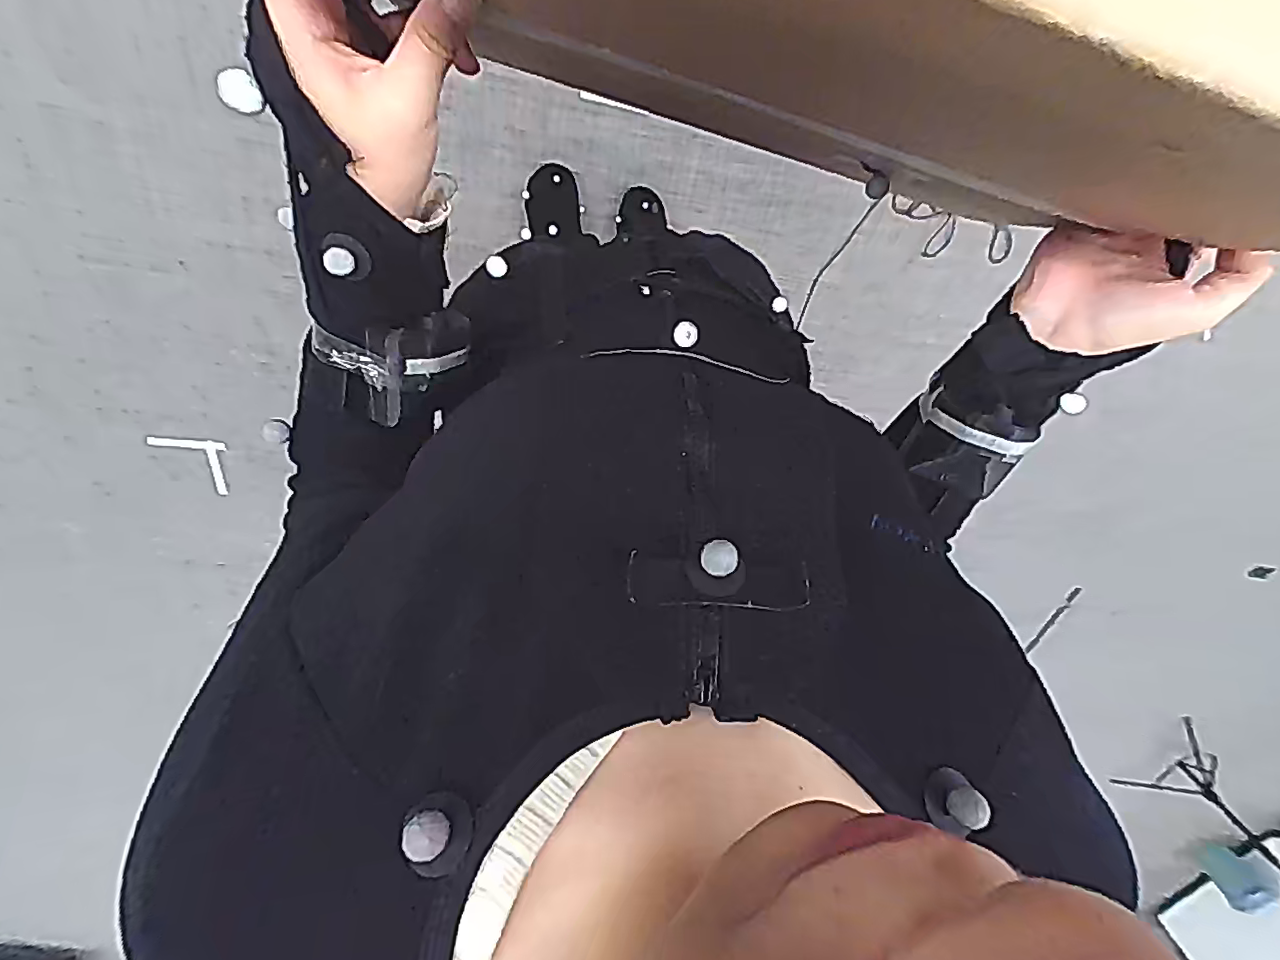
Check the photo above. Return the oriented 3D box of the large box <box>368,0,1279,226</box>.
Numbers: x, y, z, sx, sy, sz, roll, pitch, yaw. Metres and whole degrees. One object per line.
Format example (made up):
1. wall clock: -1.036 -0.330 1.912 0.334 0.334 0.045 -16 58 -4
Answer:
1. large box: 0.102 -0.302 0.173 0.408 0.320 0.320 9 119 -11
